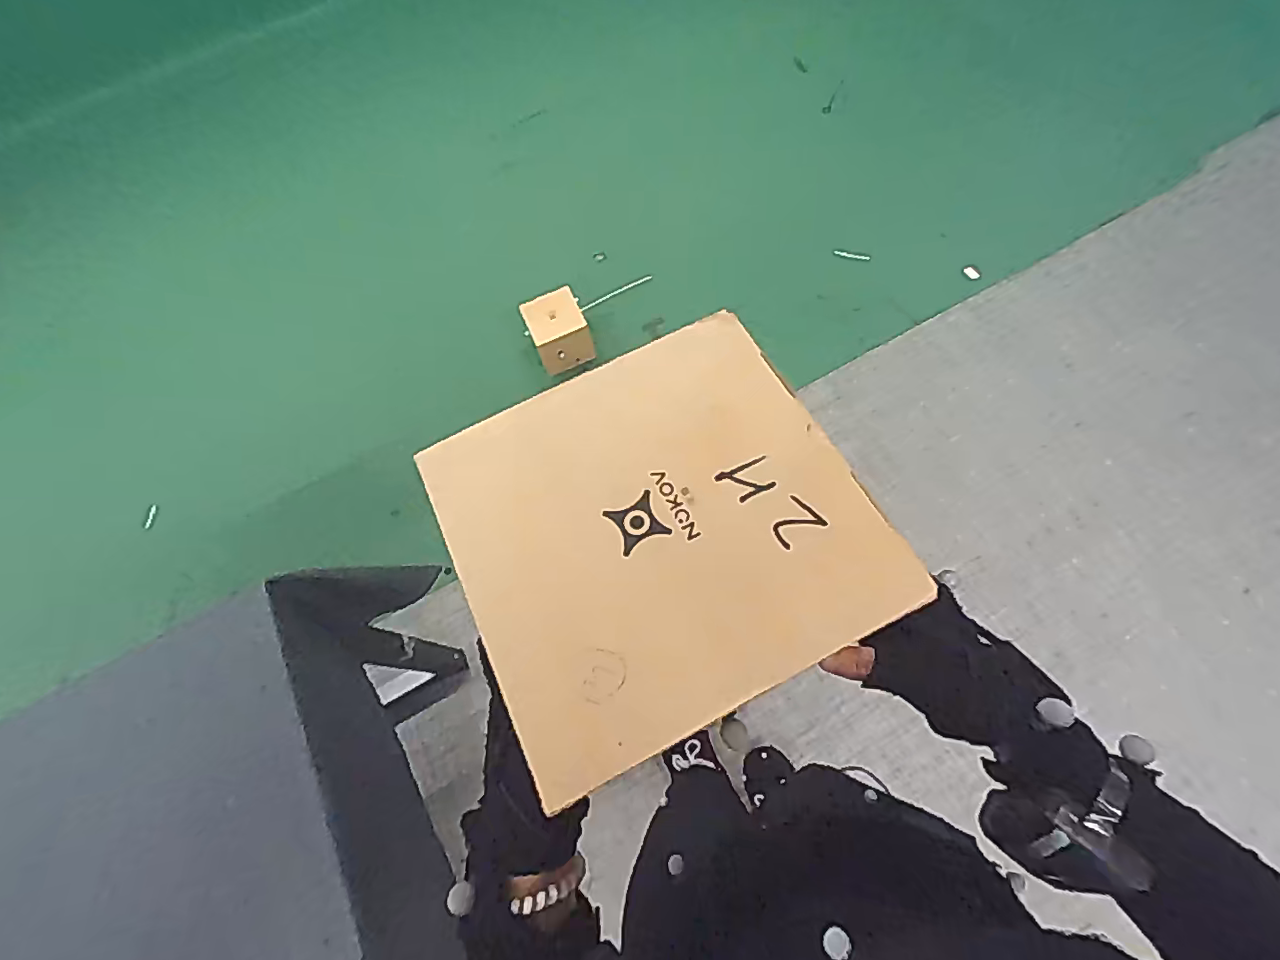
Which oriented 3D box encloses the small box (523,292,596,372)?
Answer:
[{"bbox_3d":[-0.247,-0.454,1.718,0.168,0.176,0.179,-24,65,-4],"label":"small box"}]
